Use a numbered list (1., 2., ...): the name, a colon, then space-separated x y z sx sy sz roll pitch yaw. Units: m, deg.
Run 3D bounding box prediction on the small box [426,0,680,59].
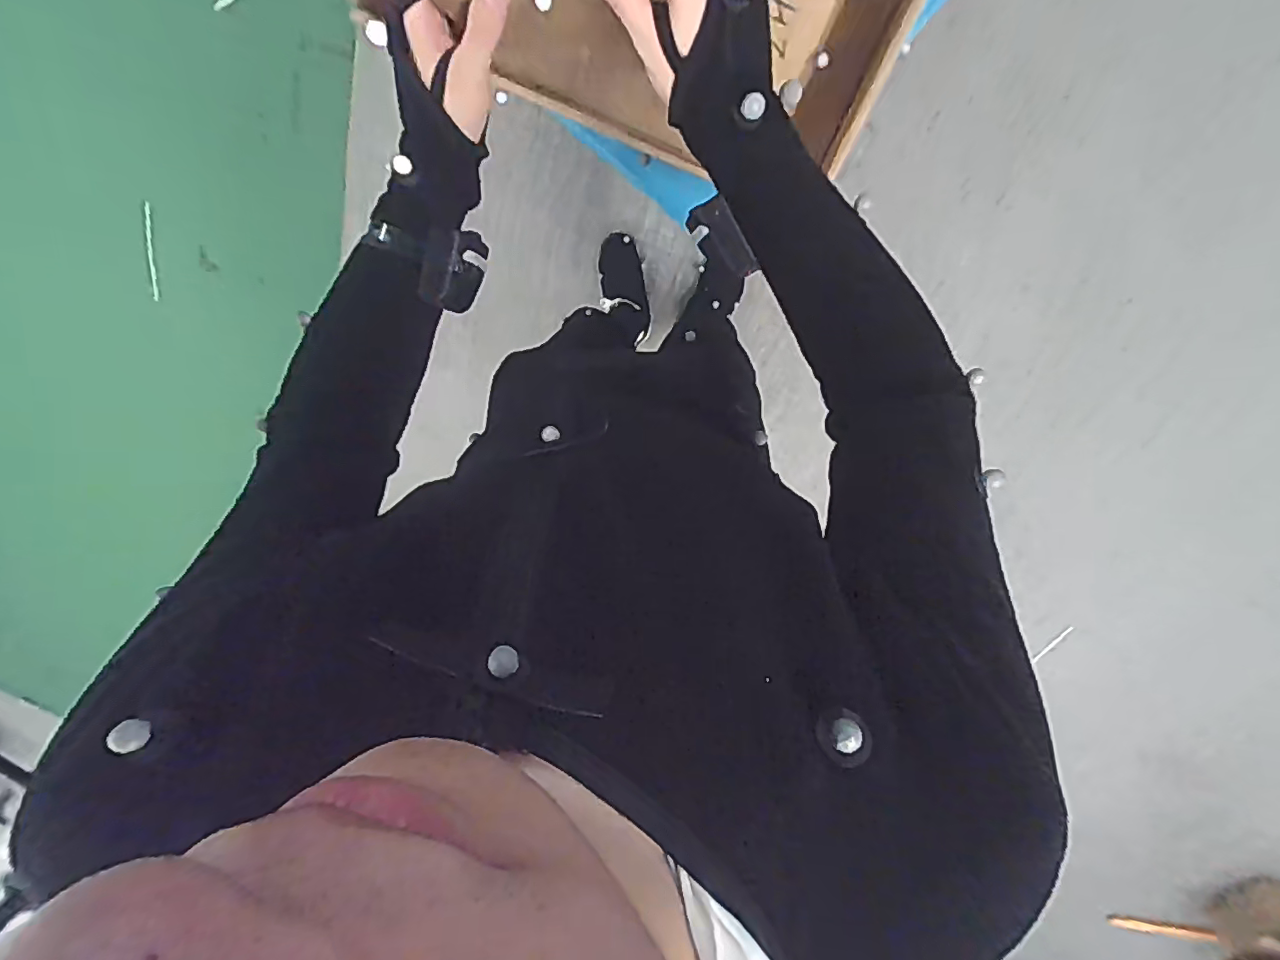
1. small box: -0.062 -0.399 0.333 0.179 0.176 0.168 0 107 12
